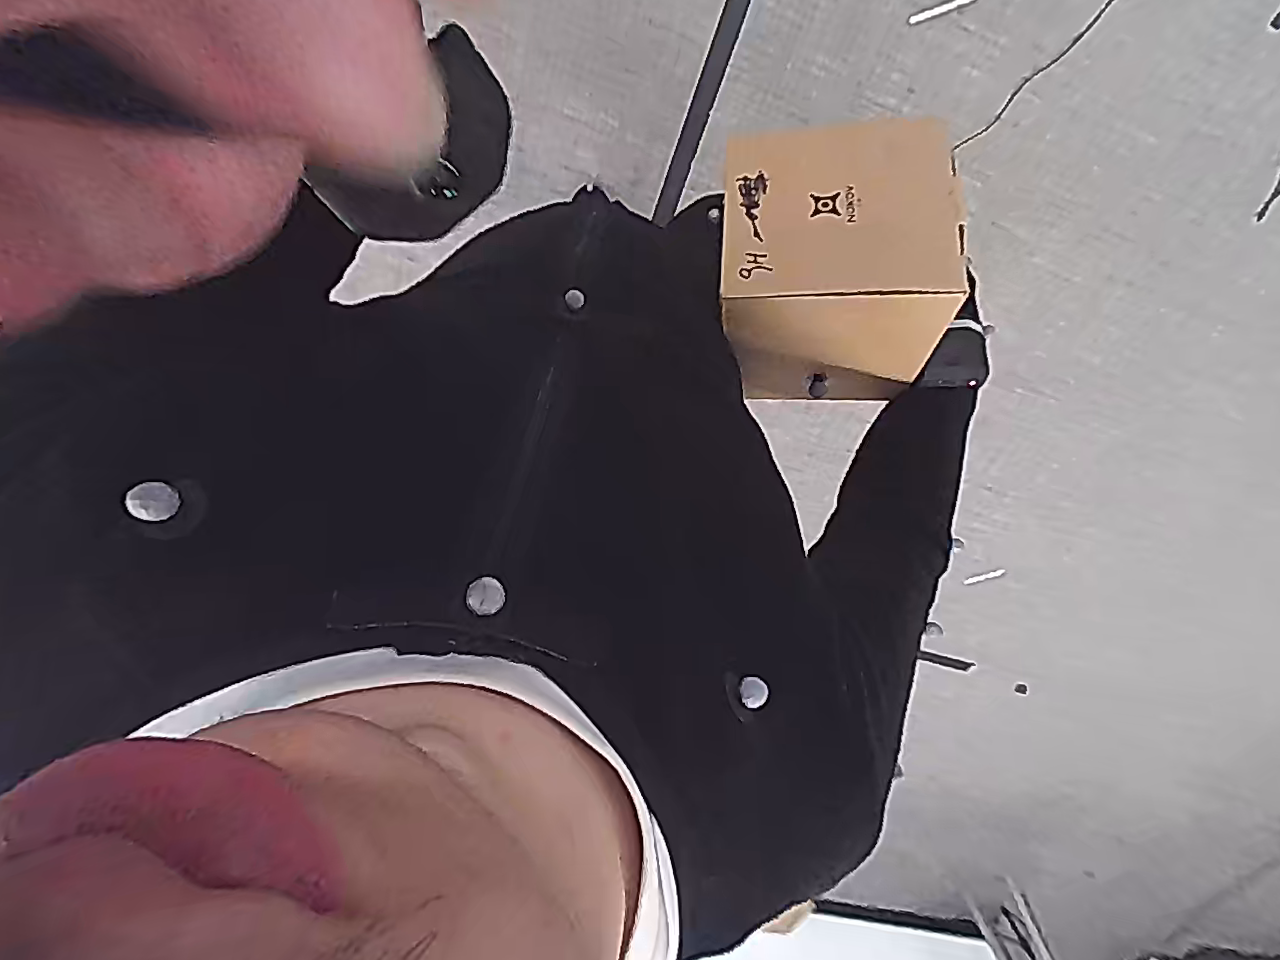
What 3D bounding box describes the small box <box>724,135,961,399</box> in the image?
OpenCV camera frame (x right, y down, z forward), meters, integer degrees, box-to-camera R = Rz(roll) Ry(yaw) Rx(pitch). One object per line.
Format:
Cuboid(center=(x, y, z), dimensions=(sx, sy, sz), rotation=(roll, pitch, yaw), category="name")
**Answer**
Cuboid(center=(0.173, -0.187, 0.514), dimensions=(0.179, 0.168, 0.176), rotation=(2, 161, 10), category="small box")
